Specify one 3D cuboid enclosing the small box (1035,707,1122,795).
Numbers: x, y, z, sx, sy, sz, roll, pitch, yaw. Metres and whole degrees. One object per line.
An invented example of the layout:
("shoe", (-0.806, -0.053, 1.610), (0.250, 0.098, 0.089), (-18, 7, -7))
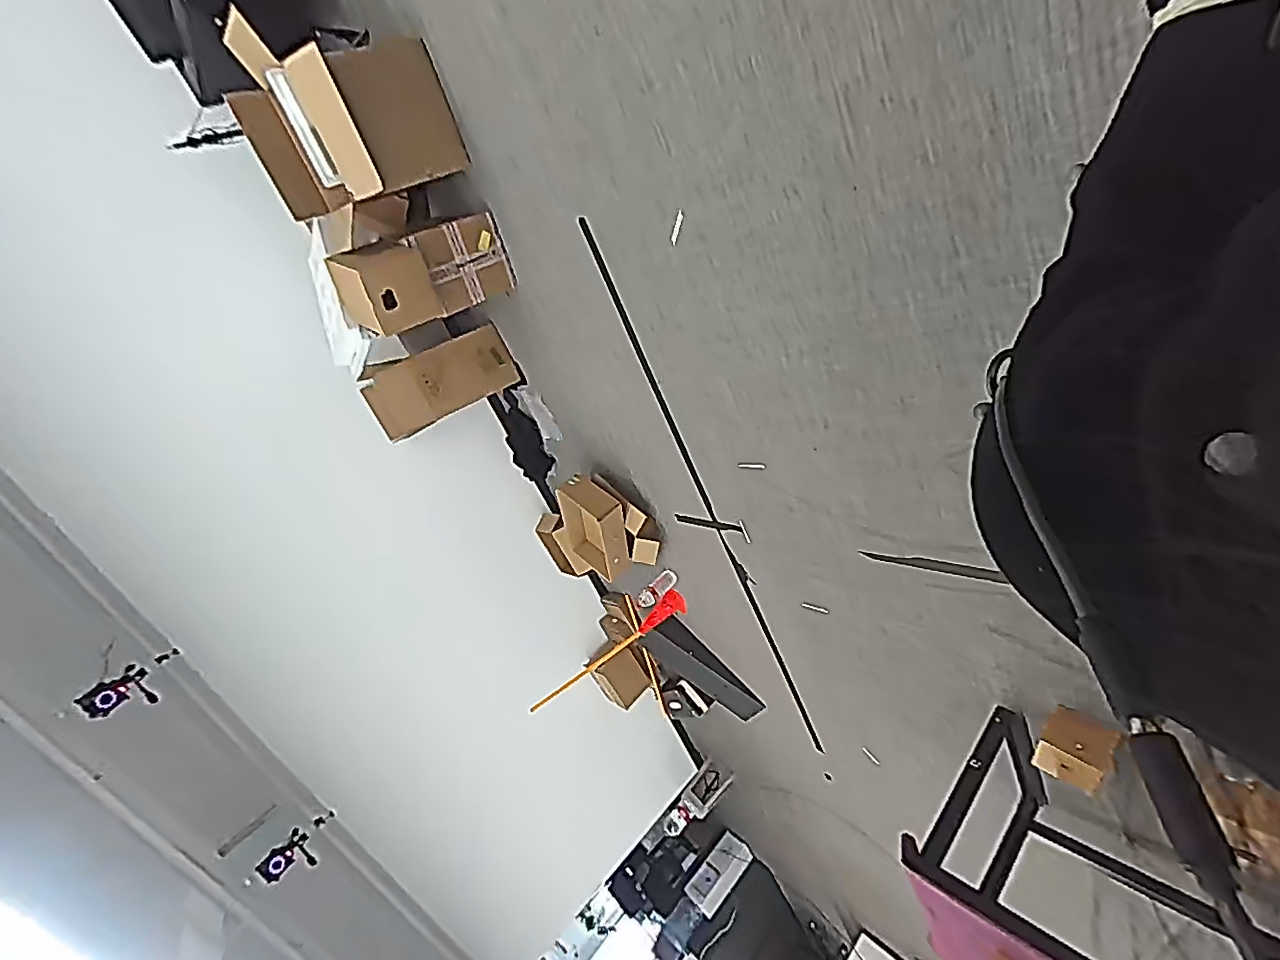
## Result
("small box", (1.474, 0.901, 1.819), (0.179, 0.176, 0.168), (22, 139, 42))
